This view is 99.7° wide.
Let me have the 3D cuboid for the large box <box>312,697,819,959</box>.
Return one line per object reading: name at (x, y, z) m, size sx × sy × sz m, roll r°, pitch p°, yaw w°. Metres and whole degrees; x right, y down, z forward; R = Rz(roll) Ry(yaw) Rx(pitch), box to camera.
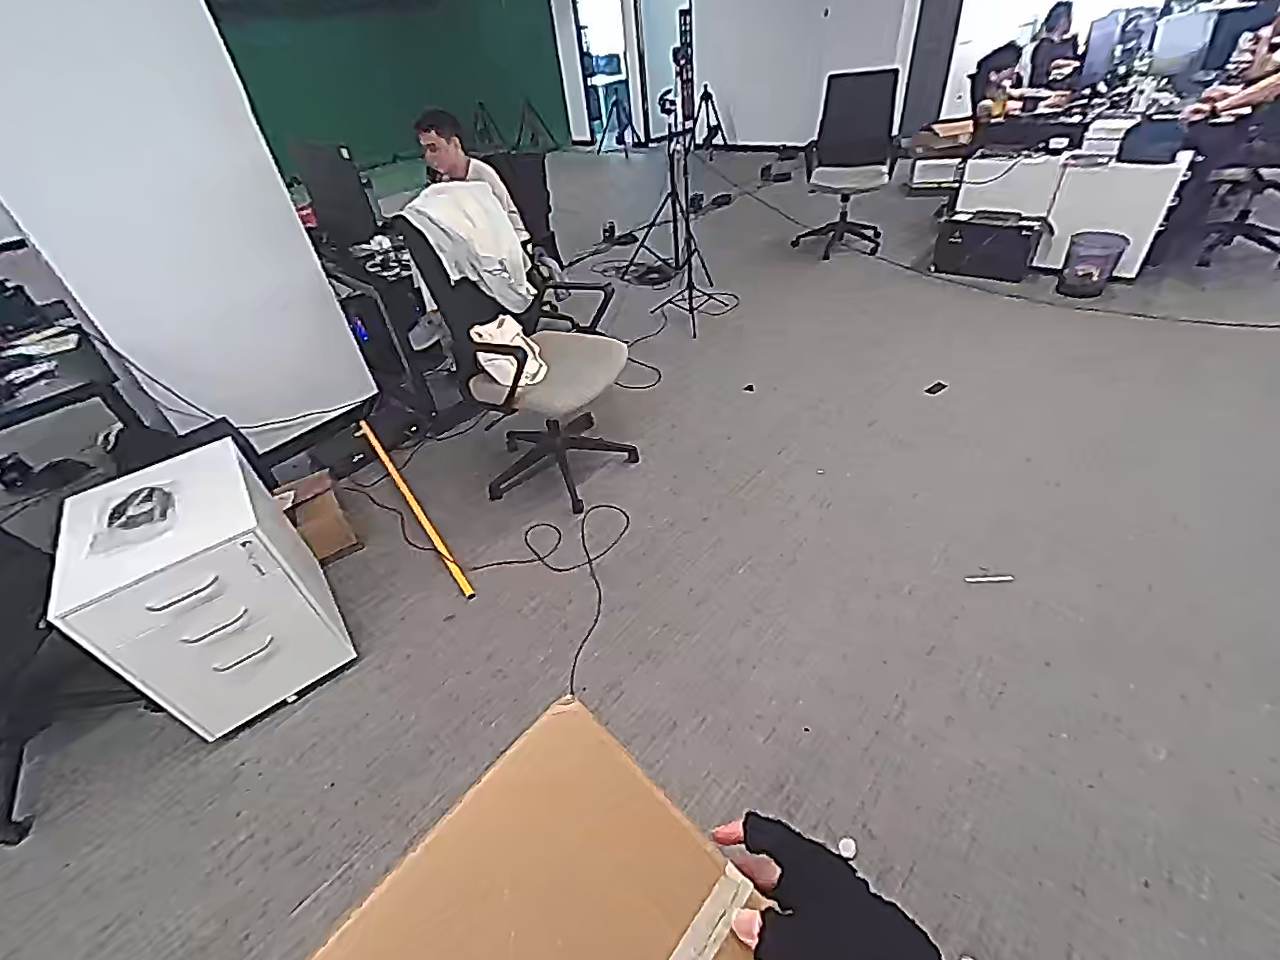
large box at (-0.106, 0.436, 0.373) m, size 0.320 × 0.320 × 0.408 m, roll 43°, pitch 59°, yaw 10°
